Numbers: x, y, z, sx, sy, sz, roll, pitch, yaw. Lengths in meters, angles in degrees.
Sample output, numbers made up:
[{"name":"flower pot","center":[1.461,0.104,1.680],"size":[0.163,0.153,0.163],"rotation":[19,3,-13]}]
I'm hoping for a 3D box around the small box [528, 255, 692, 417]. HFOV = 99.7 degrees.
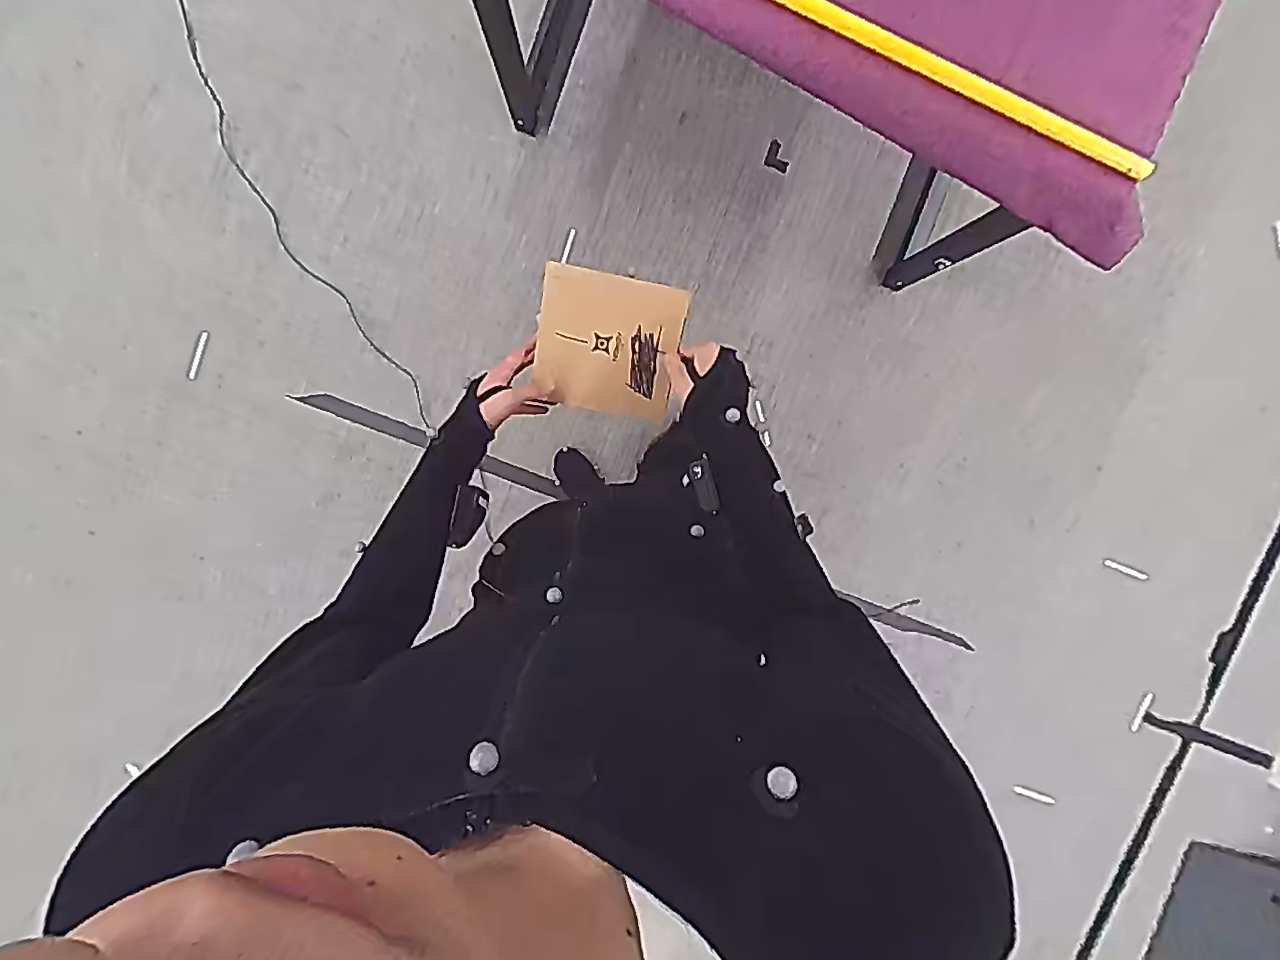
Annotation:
[{"name":"small box","center":[-0.042,-0.198,0.729],"size":[0.179,0.176,0.168],"rotation":[10,109,-6]}]
